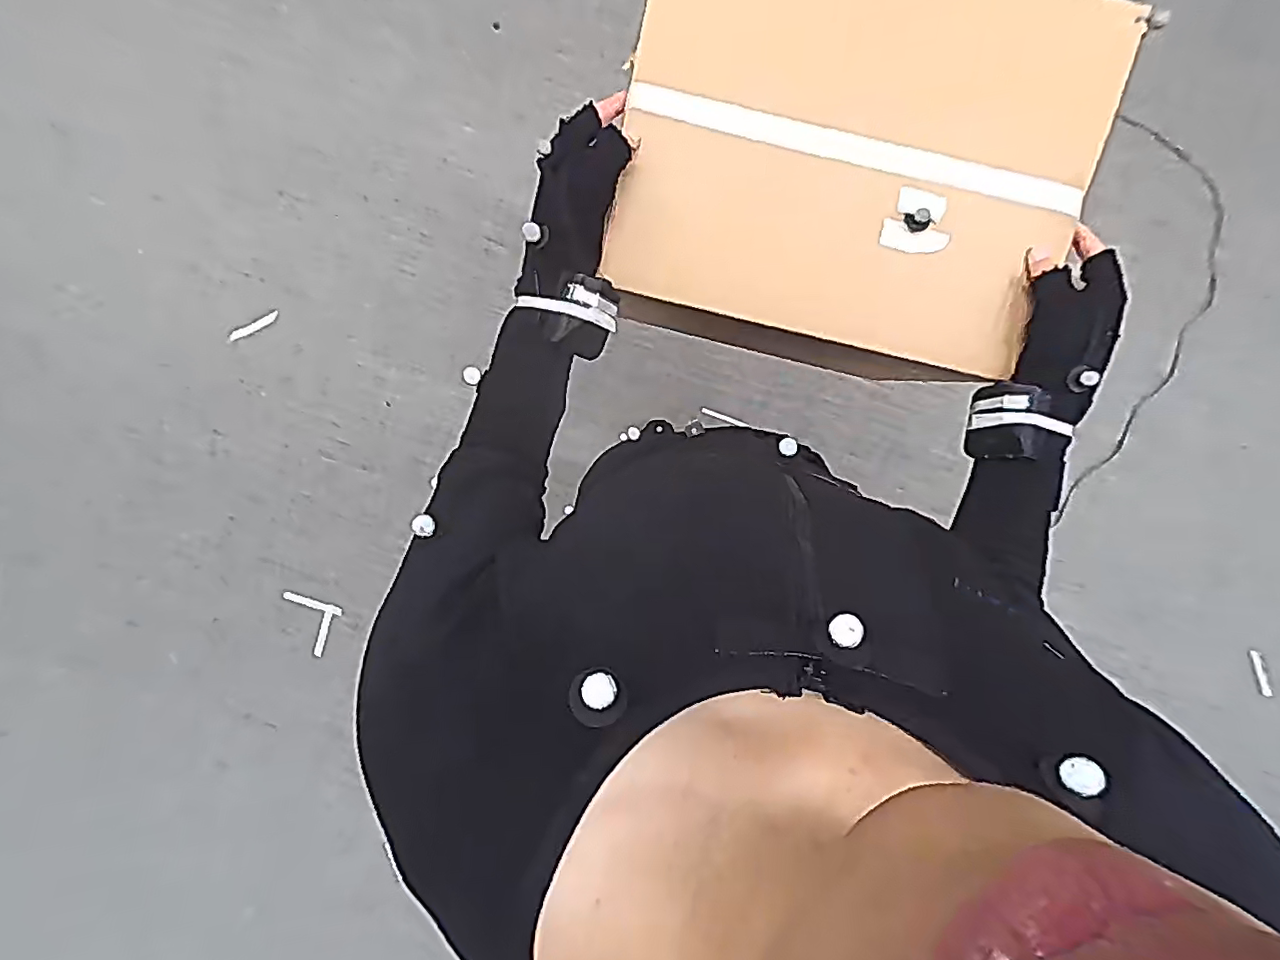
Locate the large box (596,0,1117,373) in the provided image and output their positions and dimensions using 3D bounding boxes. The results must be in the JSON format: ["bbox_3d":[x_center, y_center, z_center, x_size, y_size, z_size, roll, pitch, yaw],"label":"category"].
[{"bbox_3d":[0.183,-0.319,0.627,0.408,0.320,0.320,13,101,-1],"label":"large box"}]
